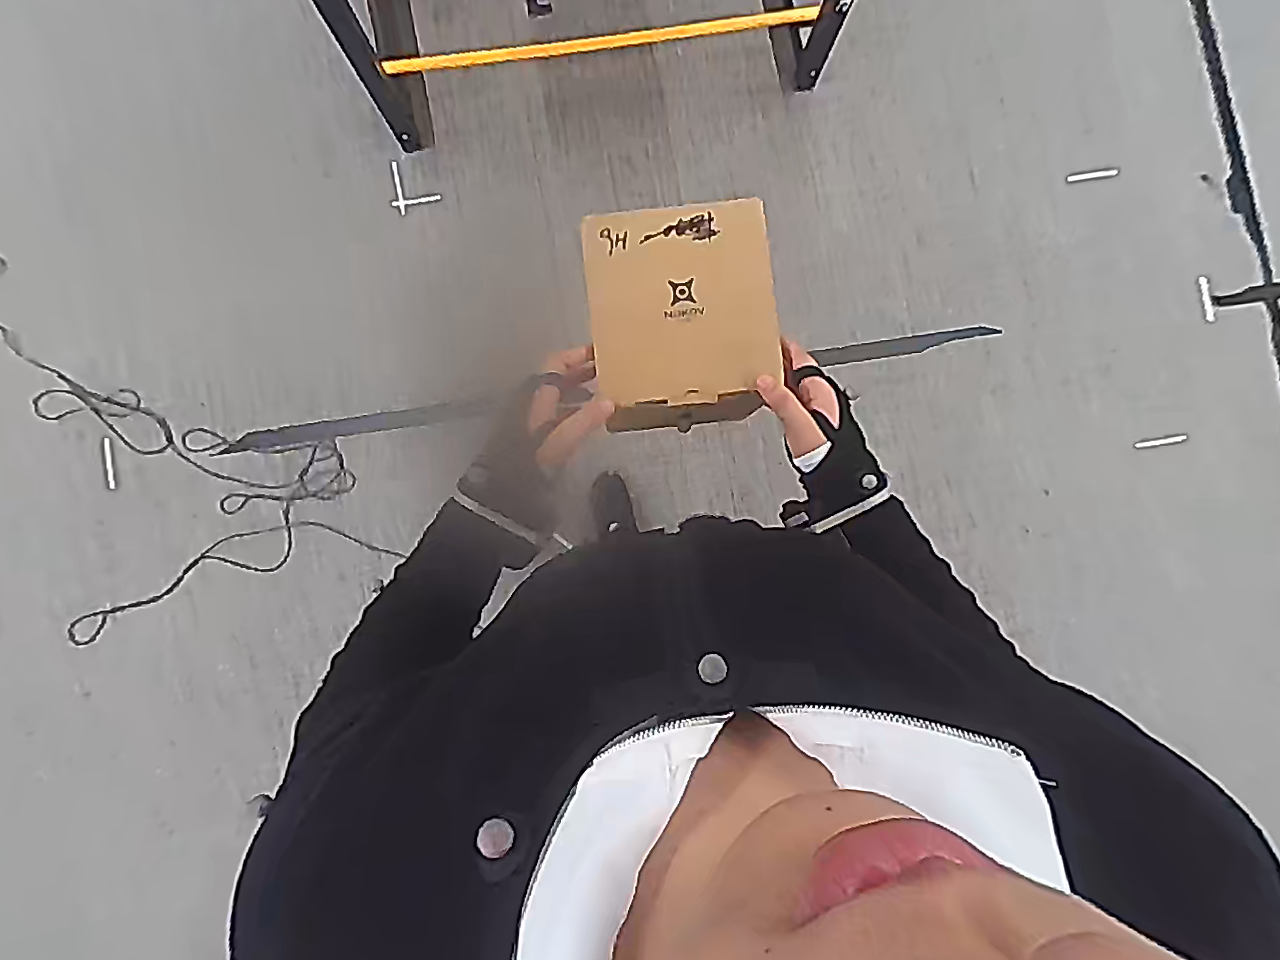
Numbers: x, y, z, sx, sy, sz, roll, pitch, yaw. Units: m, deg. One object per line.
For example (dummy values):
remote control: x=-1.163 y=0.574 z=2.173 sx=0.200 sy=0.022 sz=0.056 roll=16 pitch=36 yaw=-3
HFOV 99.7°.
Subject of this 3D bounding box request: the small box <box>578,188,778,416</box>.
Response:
small box: x=0.034 y=-0.164 z=0.557 sx=0.168 sy=0.176 sz=0.179 roll=-6 pitch=89 yaw=0
